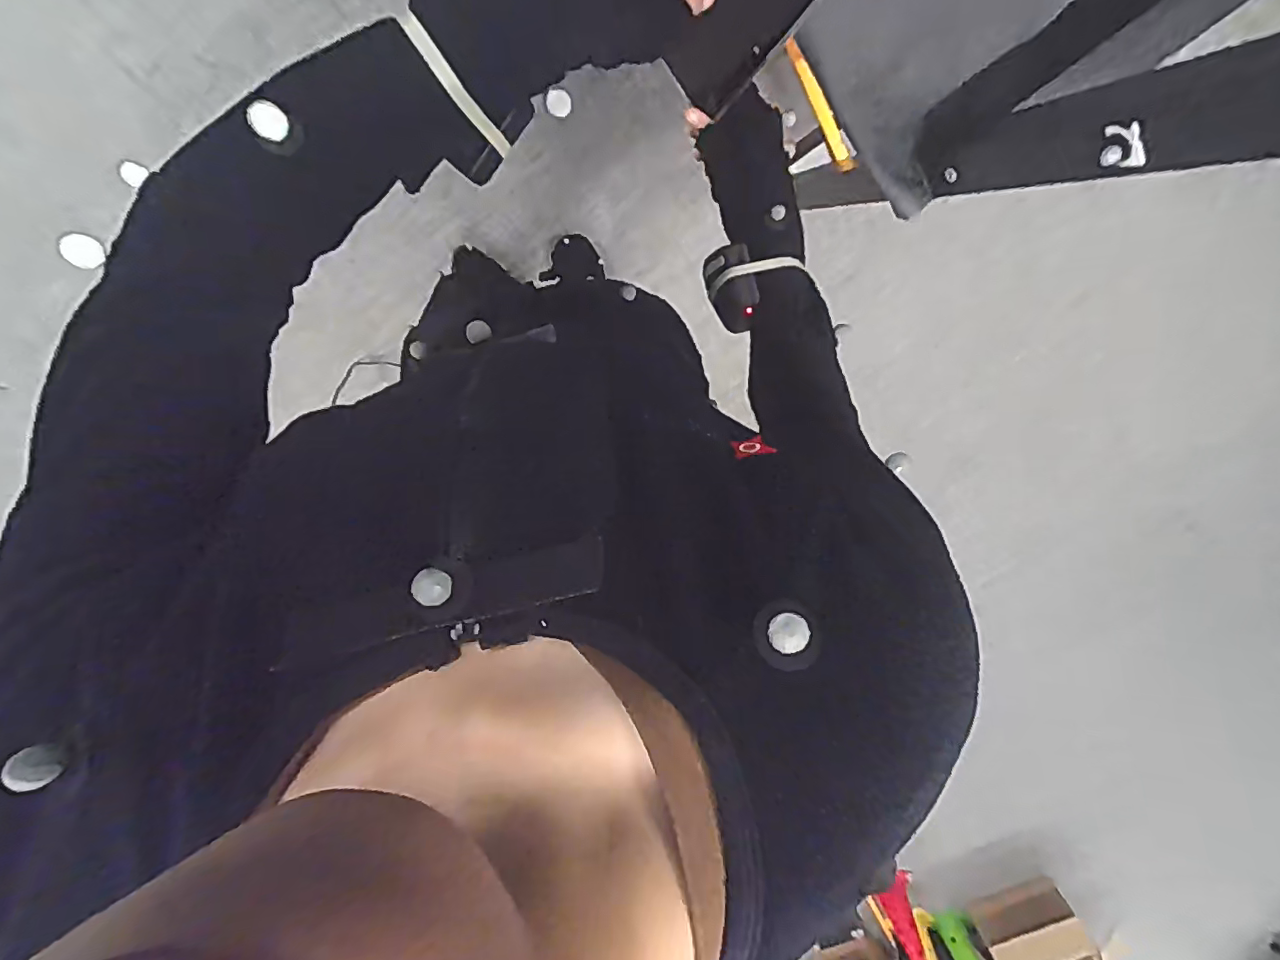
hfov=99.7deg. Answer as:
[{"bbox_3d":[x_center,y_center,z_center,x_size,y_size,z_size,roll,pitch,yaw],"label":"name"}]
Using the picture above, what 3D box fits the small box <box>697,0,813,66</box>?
[{"bbox_3d":[0.204,-0.889,0.963,0.179,0.176,0.168,-30,114,9],"label":"small box"}]
